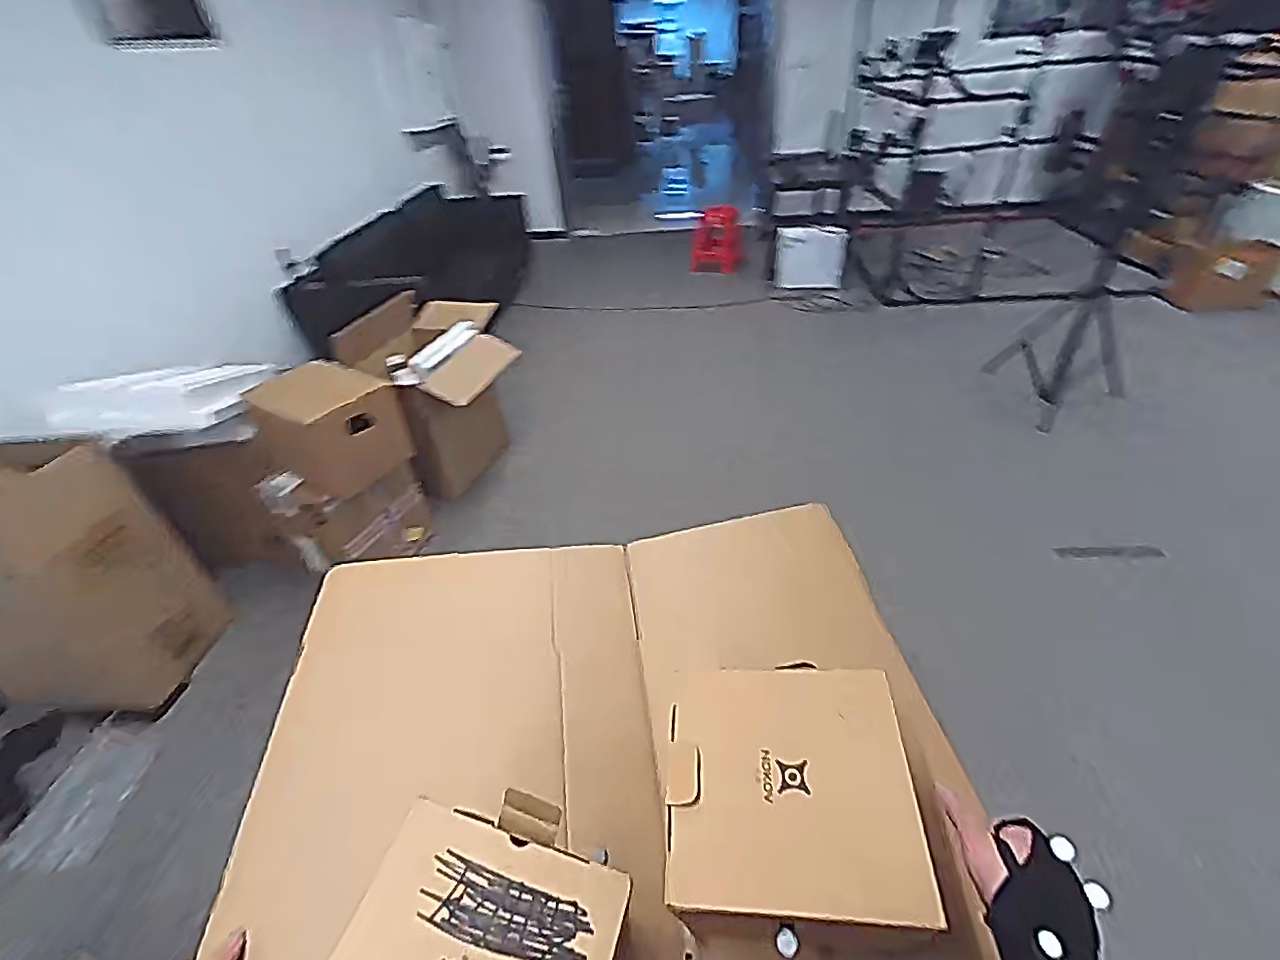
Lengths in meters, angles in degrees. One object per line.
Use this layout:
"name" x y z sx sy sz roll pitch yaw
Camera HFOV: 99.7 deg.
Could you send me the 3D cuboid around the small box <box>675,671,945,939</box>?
"small box" 0.131 0.279 0.467 0.179 0.176 0.168 -4 46 12
